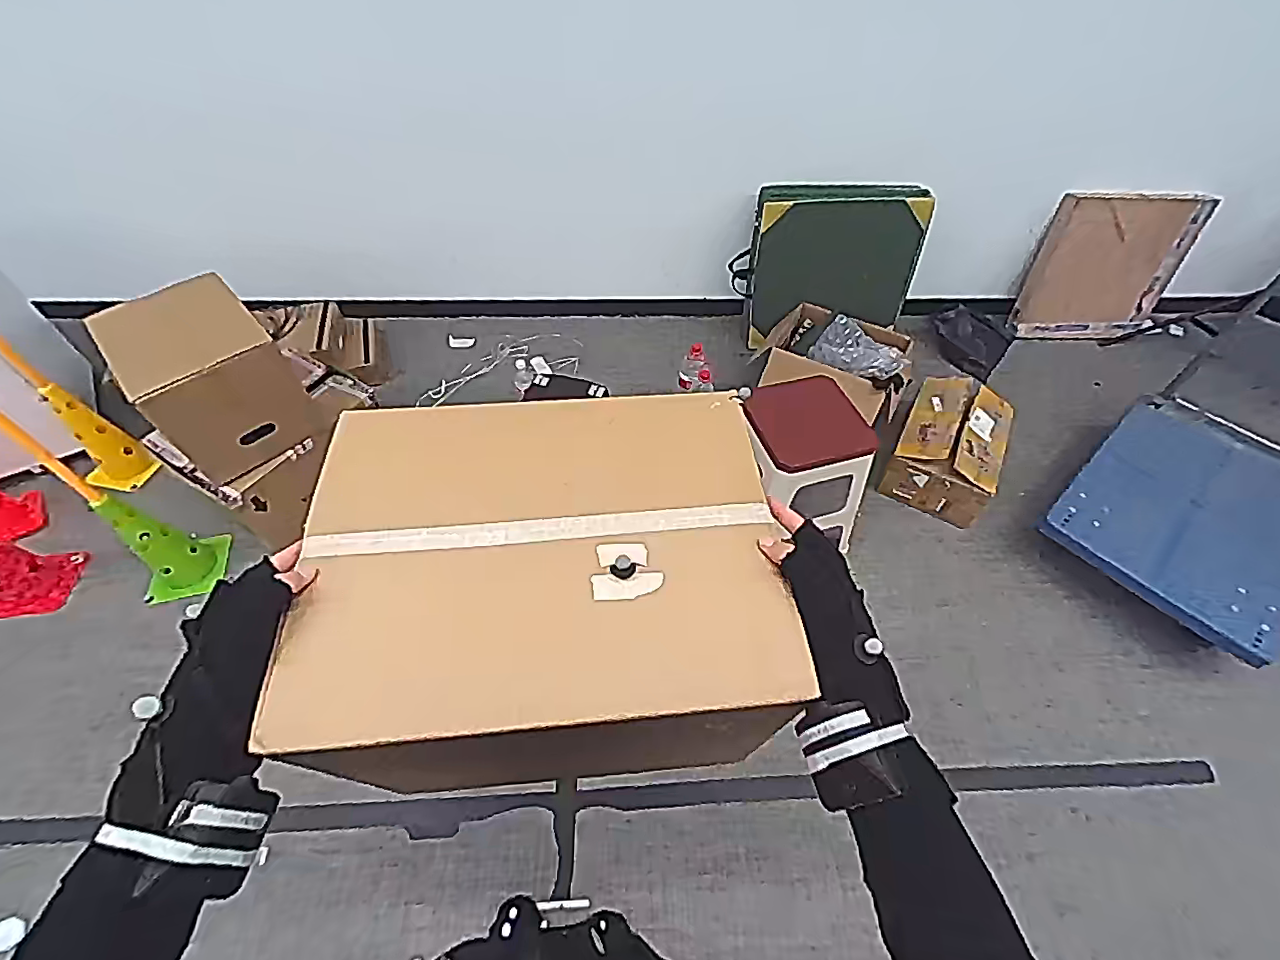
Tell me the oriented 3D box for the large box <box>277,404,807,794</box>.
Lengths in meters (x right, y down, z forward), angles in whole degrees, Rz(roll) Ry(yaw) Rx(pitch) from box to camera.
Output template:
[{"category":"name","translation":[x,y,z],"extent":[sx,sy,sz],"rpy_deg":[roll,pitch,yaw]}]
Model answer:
[{"category":"large box","translation":[-0.085,0.139,0.608],"extent":[0.408,0.320,0.320],"rpy_deg":[-3,55,-5]}]
